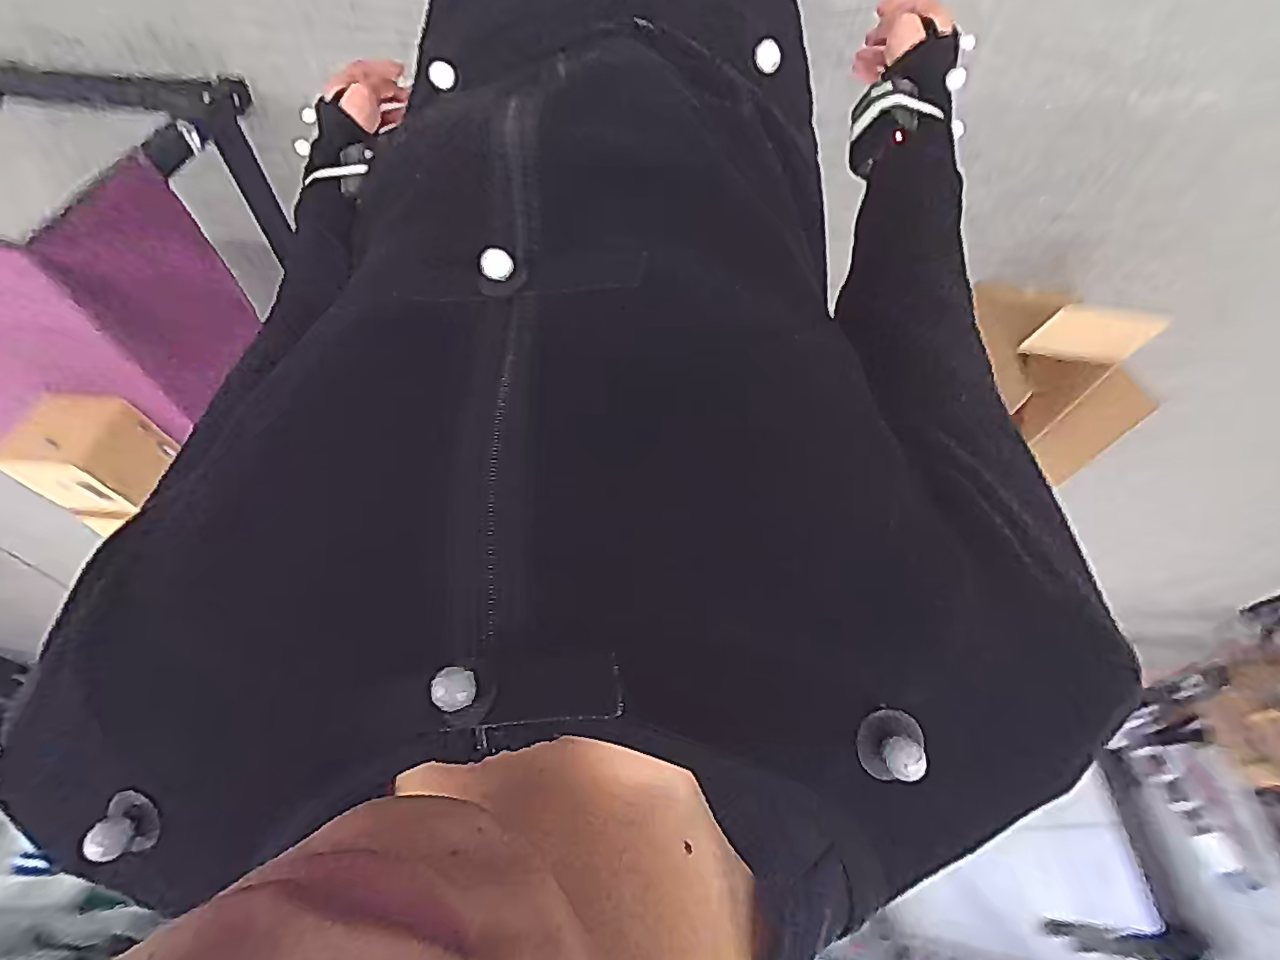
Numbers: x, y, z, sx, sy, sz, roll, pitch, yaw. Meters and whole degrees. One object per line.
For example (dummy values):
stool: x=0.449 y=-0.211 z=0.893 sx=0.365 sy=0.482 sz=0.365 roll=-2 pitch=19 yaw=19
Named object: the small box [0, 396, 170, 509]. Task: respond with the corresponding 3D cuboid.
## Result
small box: x=-1.122 y=-0.057 z=1.105 sx=0.179 sy=0.176 sz=0.168 roll=3 pitch=146 yaw=2
